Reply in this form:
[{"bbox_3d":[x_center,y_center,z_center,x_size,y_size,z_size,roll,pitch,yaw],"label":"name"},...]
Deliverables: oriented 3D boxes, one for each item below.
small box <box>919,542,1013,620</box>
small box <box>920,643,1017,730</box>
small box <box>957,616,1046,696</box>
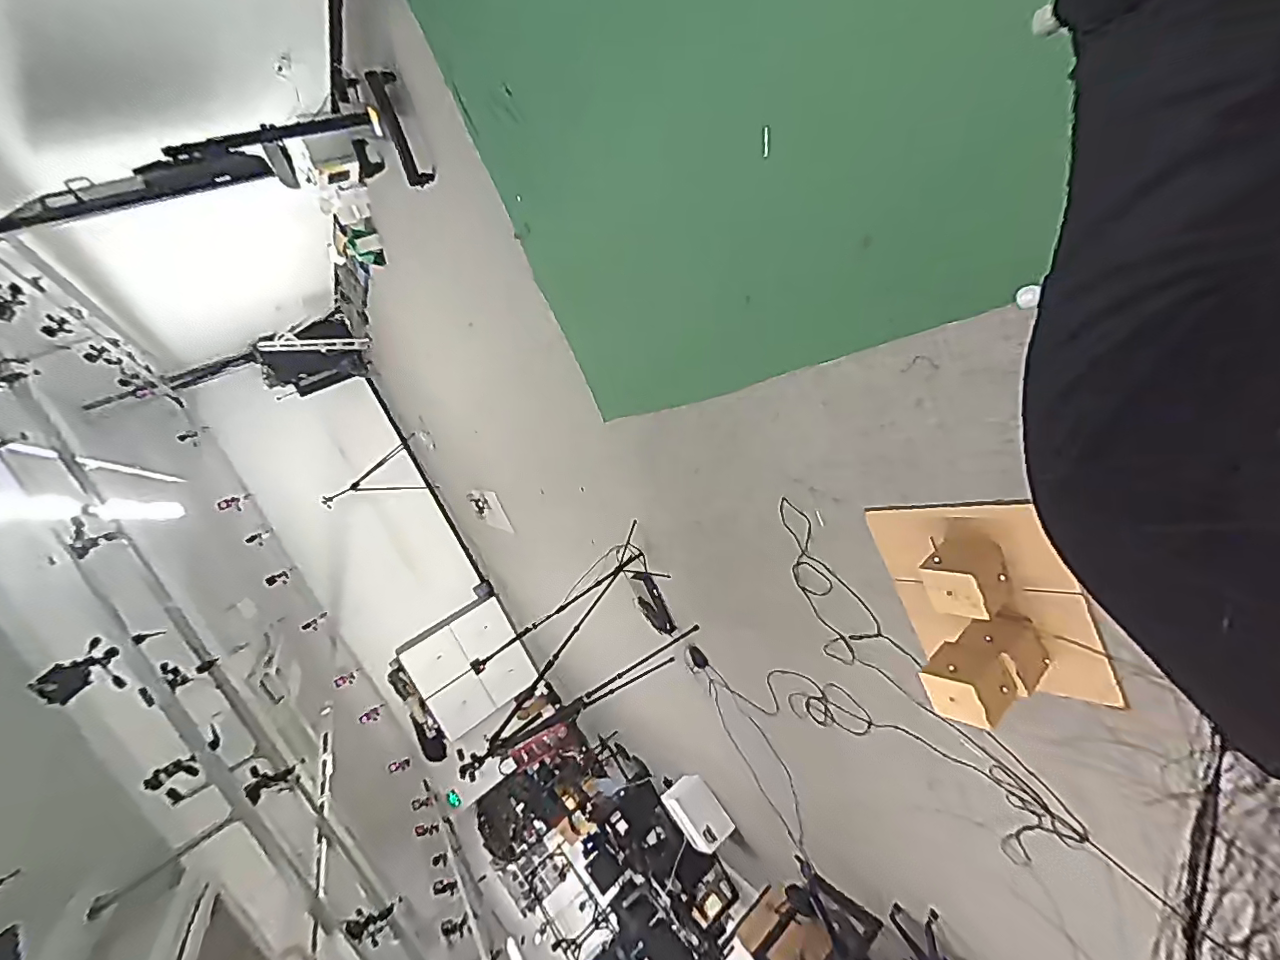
[{"bbox_3d":[1.021,0.307,1.693,0.179,0.176,0.168,-3,116,59],"label":"small box"},{"bbox_3d":[1.014,0.627,1.670,0.179,0.176,0.168,-10,109,61],"label":"small box"},{"bbox_3d":[1.152,0.552,1.720,0.168,0.176,0.179,62,153,-7],"label":"small box"}]
